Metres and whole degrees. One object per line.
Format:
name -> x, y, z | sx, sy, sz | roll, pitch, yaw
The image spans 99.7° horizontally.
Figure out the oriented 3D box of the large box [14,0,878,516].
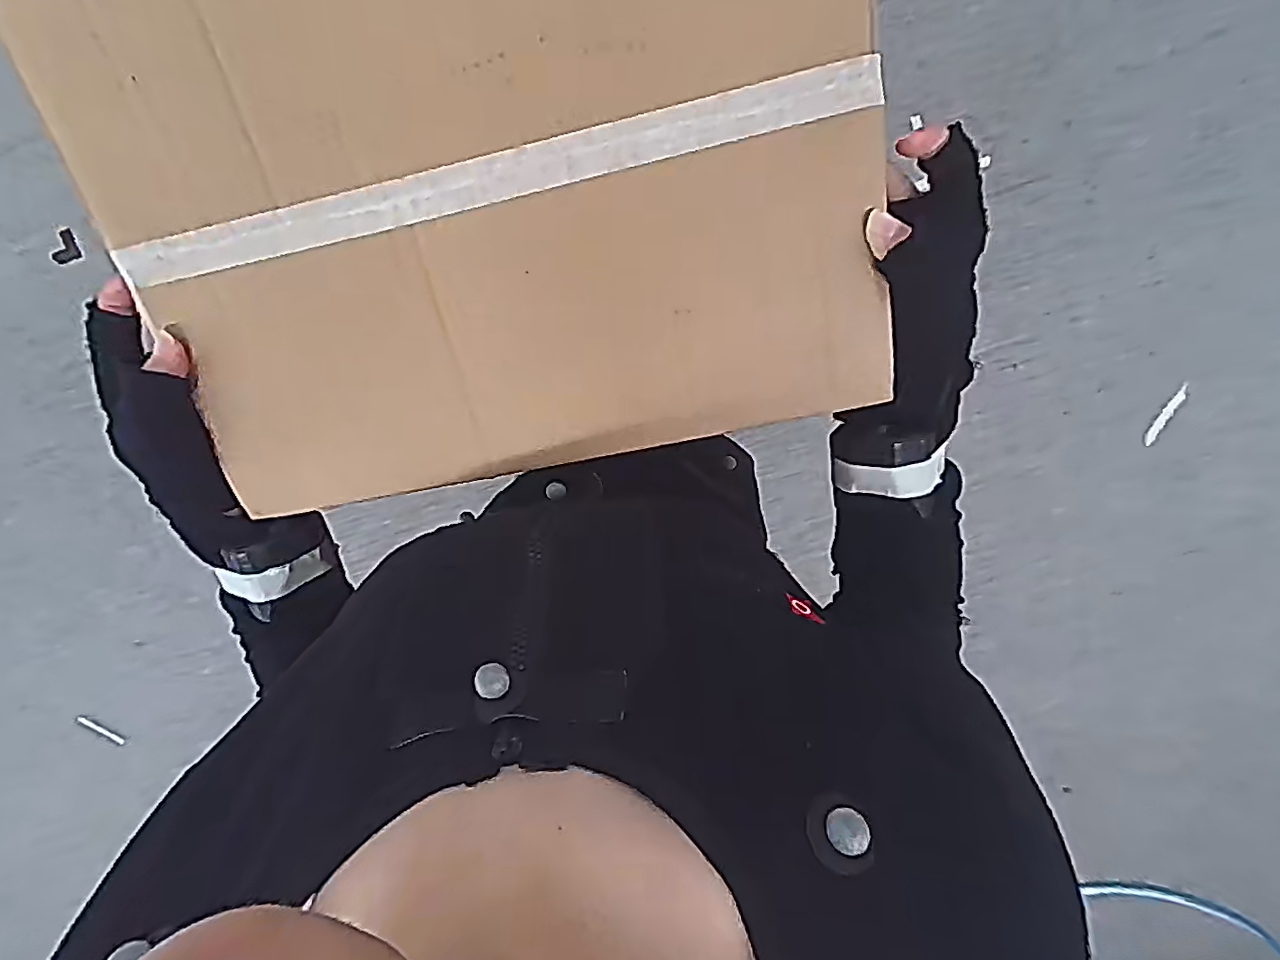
large box -> -0.077, -0.207, 0.426 | 0.408, 0.320, 0.320 | -10, 110, 6
